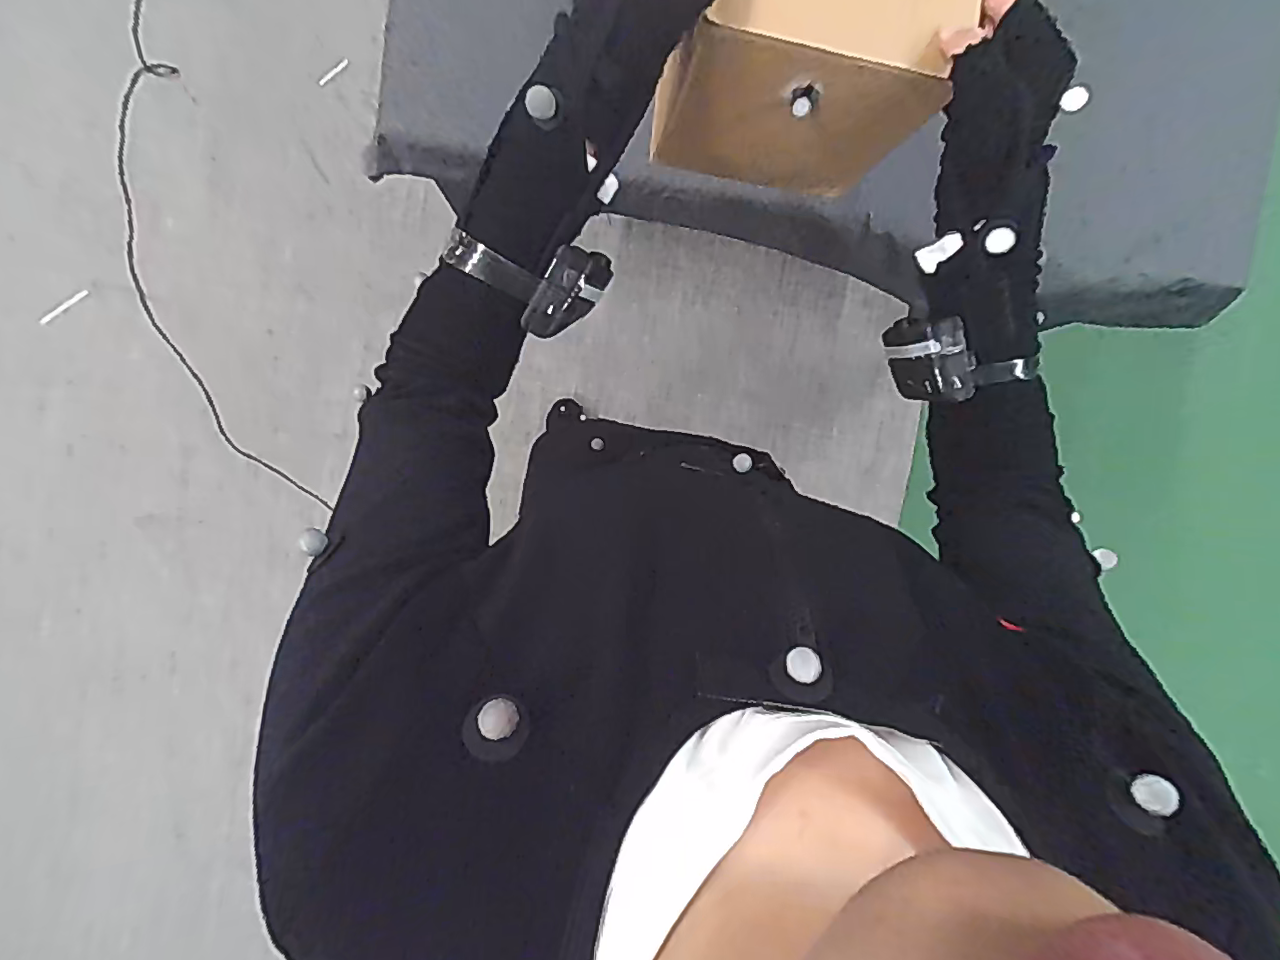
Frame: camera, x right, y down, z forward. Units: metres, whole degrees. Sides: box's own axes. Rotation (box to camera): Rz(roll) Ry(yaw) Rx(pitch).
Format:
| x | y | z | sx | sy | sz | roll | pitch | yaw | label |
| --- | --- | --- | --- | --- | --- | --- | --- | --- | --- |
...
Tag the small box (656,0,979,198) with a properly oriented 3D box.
| x | y | z | sx | sy | sz | roll | pitch | yaw | label |
| --- | --- | --- | --- | --- | --- | --- | --- | --- | --- |
| 0.116 | -0.336 | 0.399 | 0.179 | 0.176 | 0.168 | 6 | 94 | -11 | small box |
